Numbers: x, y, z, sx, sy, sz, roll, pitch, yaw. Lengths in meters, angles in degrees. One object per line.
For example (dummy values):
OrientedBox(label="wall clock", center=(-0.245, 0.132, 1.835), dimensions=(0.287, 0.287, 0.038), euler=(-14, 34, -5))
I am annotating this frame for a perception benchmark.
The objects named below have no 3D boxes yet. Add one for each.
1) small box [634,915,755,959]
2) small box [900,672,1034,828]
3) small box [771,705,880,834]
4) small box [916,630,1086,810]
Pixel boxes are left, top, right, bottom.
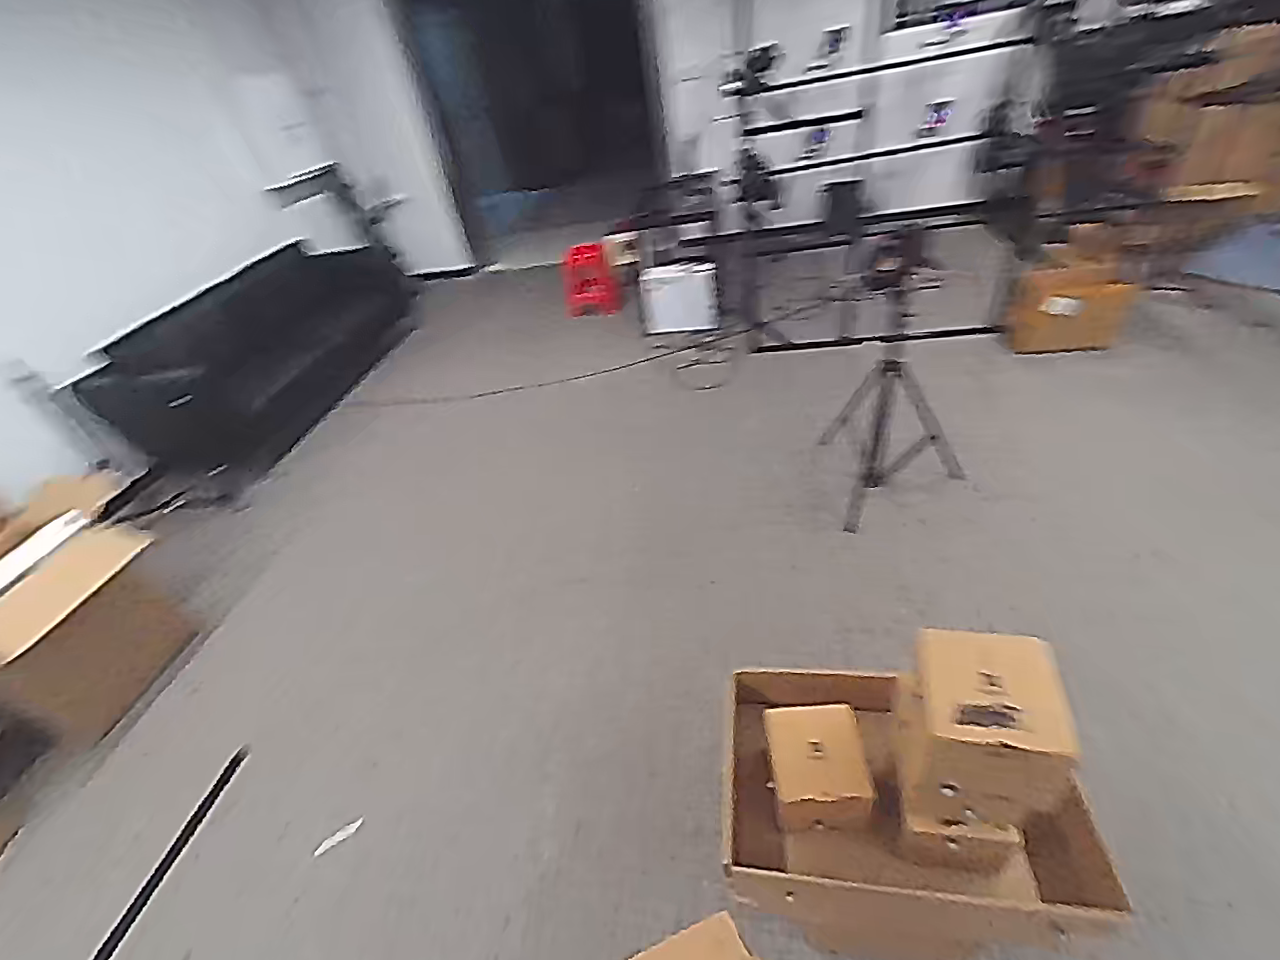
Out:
OrientedBox(label="small box", center=(0.067, 0.641, 0.582), dimensions=(0.179, 0.176, 0.168), euler=(-12, 16, -20))
OrientedBox(label="small box", center=(0.545, 0.452, 0.913), dimensions=(0.168, 0.176, 0.179), euler=(-3, 39, 16))
OrientedBox(label="small box", center=(0.357, 0.575, 1.075), dimensions=(0.168, 0.176, 0.179), euler=(-6, 39, 6))
OrientedBox(label="small box", center=(0.506, 0.347, 0.788), dimensions=(0.168, 0.176, 0.179), euler=(1, 40, 20))
